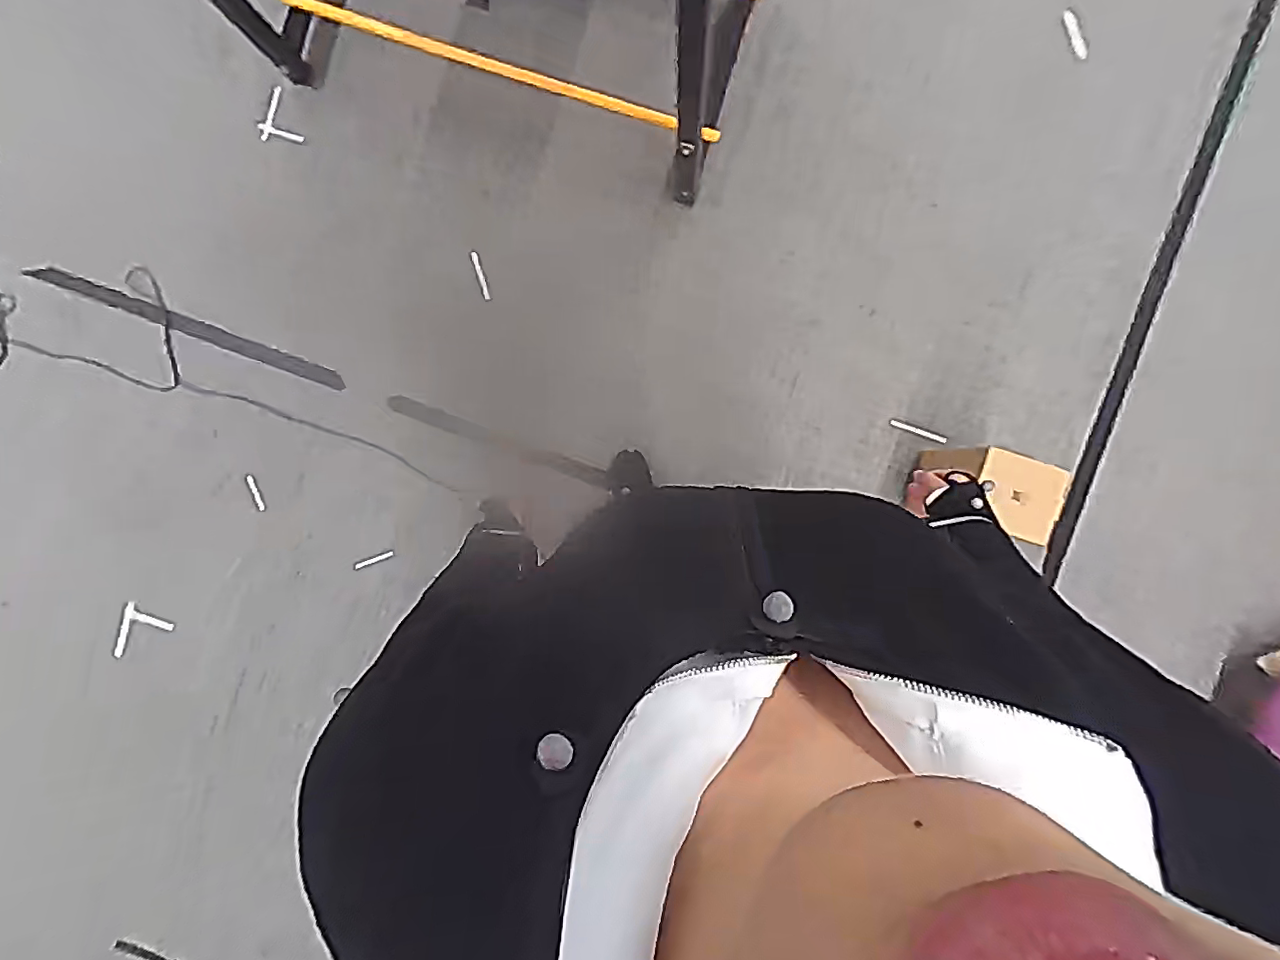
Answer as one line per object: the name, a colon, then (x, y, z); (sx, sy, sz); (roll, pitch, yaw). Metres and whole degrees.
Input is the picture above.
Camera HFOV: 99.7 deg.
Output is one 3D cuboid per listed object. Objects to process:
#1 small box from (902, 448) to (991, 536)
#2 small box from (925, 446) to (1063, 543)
small box: (0.799, 0.026, 1.382); (0.168, 0.176, 0.179); (18, 93, 2)
small box: (0.787, 0.028, 1.220); (0.179, 0.176, 0.168); (18, 92, 3)
